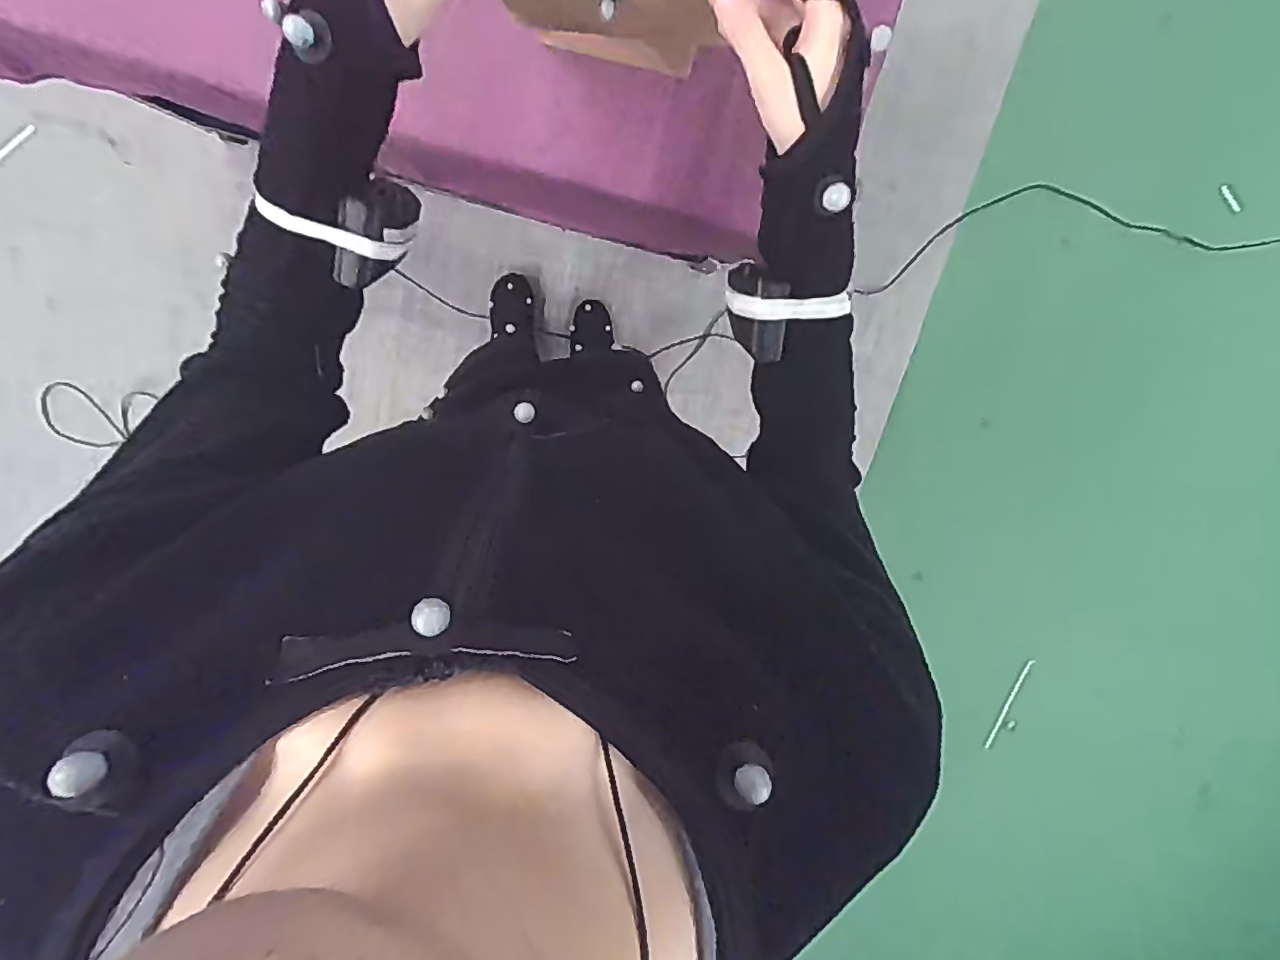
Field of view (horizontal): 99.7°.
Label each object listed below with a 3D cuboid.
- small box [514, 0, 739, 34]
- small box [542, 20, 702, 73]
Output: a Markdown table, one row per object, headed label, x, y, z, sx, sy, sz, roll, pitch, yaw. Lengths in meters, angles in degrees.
| label | x | y | z | sx | sy | sz | roll | pitch | yaw |
| --- | --- | --- | --- | --- | --- | --- | --- | --- | --- |
| small box | -0.005 | -0.405 | 0.331 | 0.179 | 0.176 | 0.168 | 4 | 114 | -1 |
| small box | -0.008 | -0.536 | 0.523 | 0.179 | 0.176 | 0.168 | 11 | 106 | -5 |
